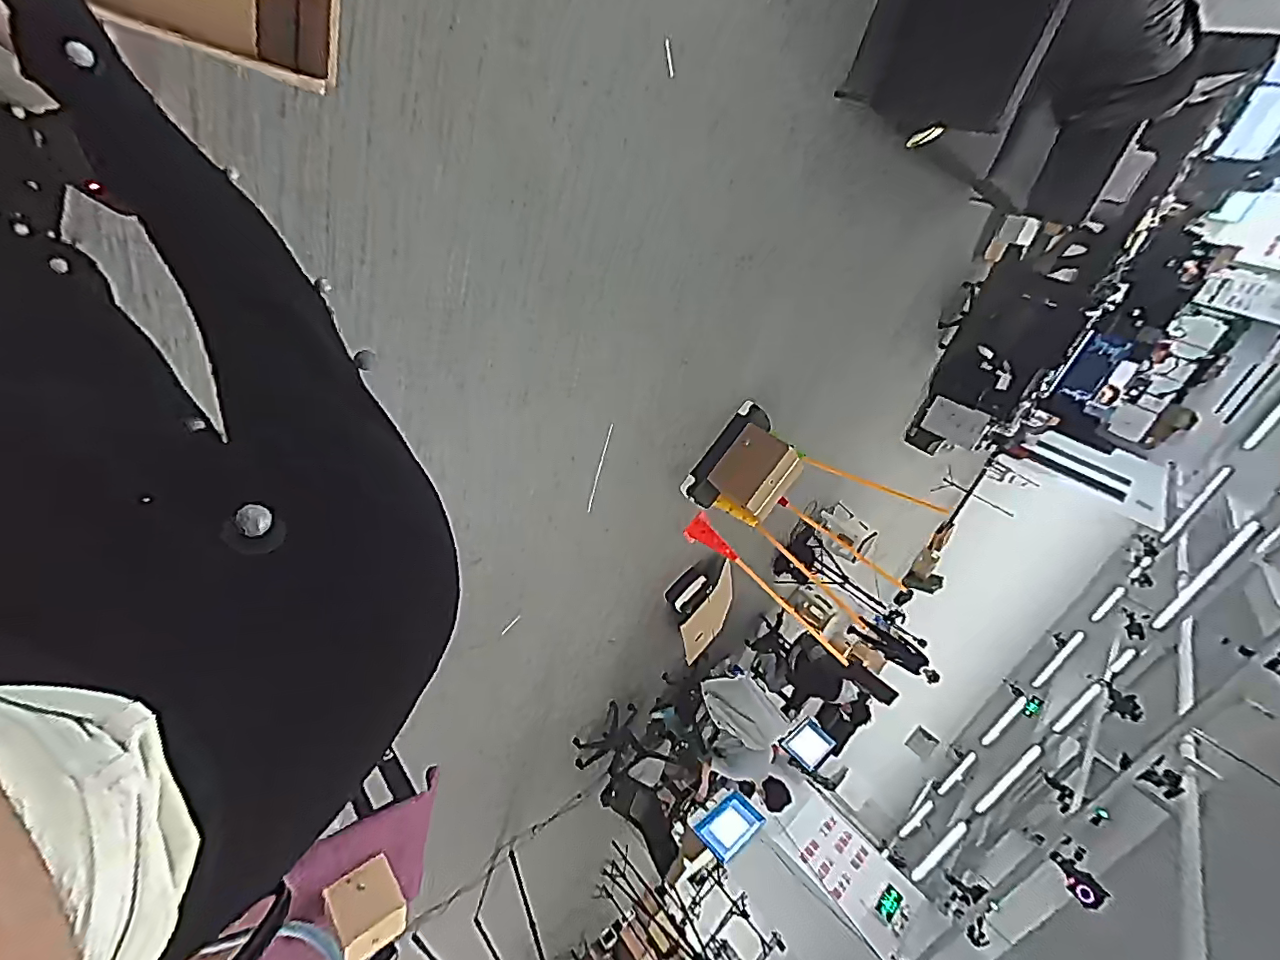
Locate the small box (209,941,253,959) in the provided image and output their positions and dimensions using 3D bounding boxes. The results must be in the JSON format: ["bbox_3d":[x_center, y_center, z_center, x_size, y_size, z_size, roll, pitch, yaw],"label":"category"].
[{"bbox_3d":[-1.024,1.279,1.309,0.168,0.176,0.179,-13,131,-43],"label":"small box"}]

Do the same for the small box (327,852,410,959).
[{"bbox_3d":[-0.778,1.218,1.545,0.168,0.176,0.179,-15,131,-43],"label":"small box"}]
